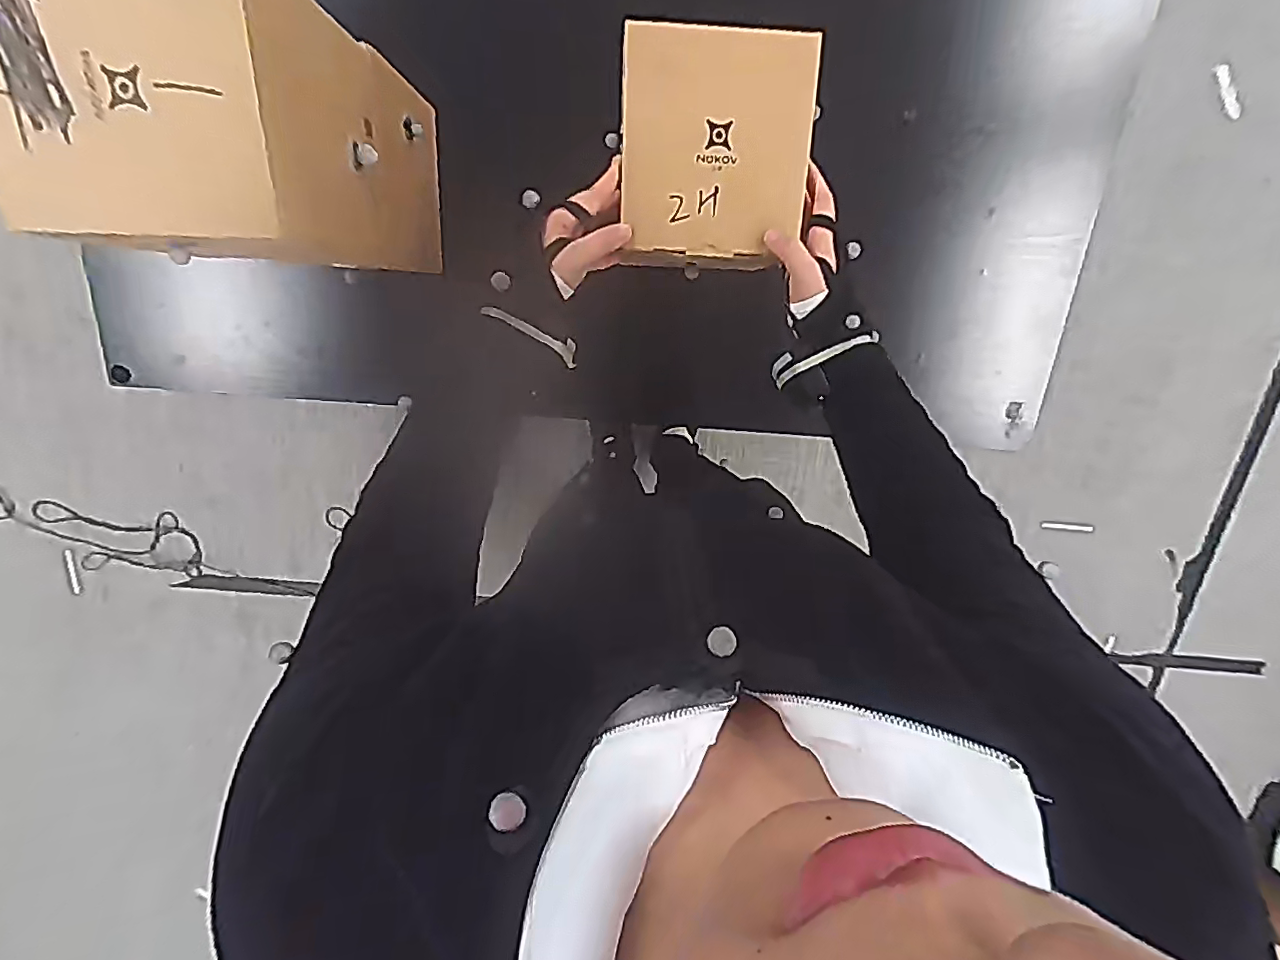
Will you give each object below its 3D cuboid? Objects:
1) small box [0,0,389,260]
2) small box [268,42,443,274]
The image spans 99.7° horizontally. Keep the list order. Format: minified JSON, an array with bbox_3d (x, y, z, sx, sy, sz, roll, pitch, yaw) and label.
[{"bbox_3d":[-0.315,-0.260,0.401,0.179,0.176,0.168,1,107,-1],"label":"small box"},{"bbox_3d":[-0.315,-0.315,0.556,0.168,0.176,0.179,2,108,-1],"label":"small box"}]
